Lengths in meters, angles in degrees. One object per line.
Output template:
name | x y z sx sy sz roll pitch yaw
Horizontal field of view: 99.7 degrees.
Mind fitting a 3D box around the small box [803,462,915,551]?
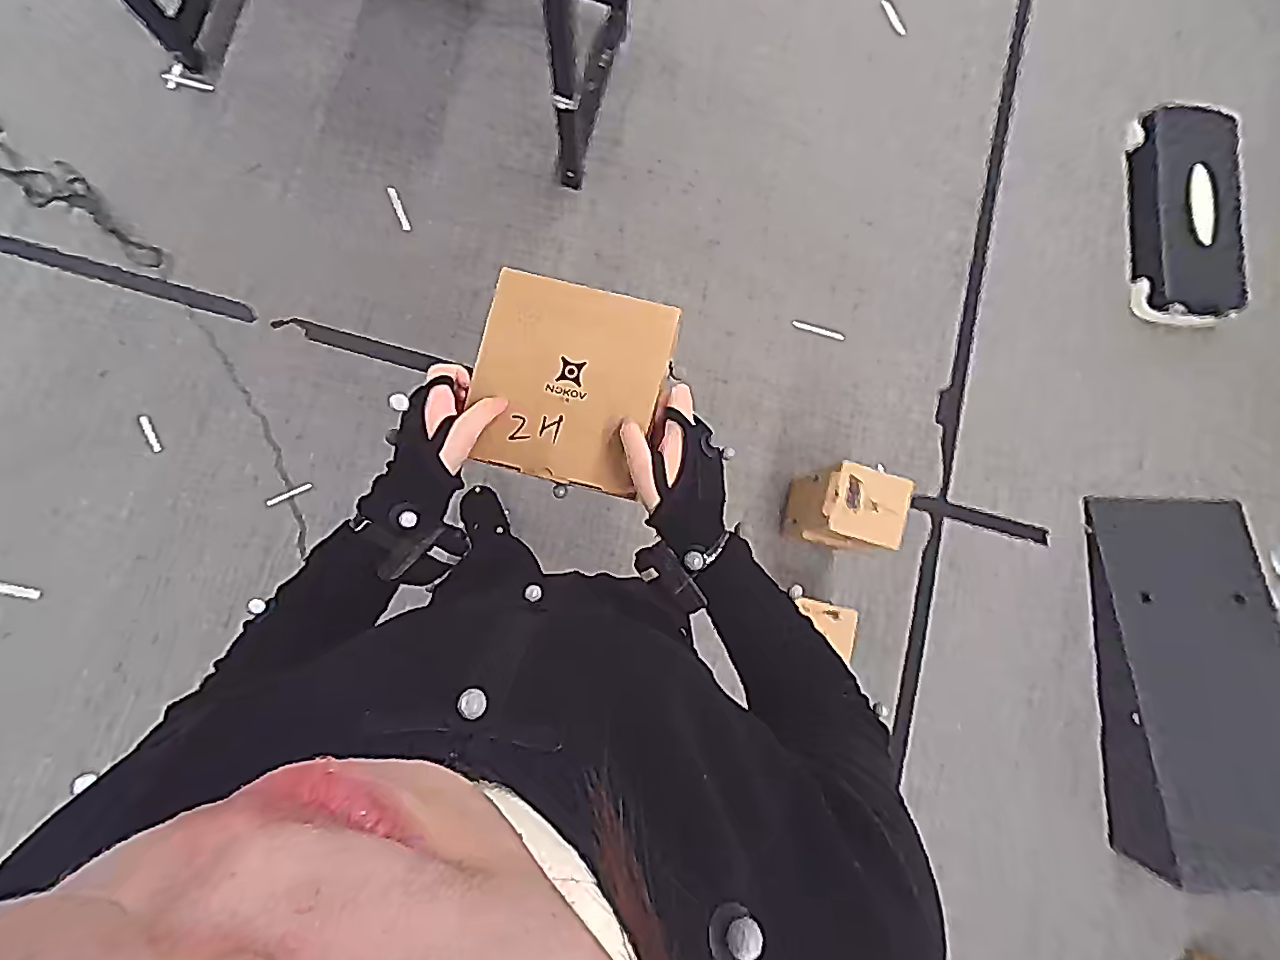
small box | 0.515 0.067 1.294 0.179 0.176 0.168 17 84 -4

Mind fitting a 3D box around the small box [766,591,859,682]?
small box | 0.444 0.404 1.421 0.168 0.176 0.179 14 84 -3

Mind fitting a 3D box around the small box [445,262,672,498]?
small box | -0.070 -0.085 0.547 0.168 0.176 0.179 13 87 2

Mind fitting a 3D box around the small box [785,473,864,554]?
small box | 0.504 0.092 1.456 0.168 0.176 0.179 14 84 -3
